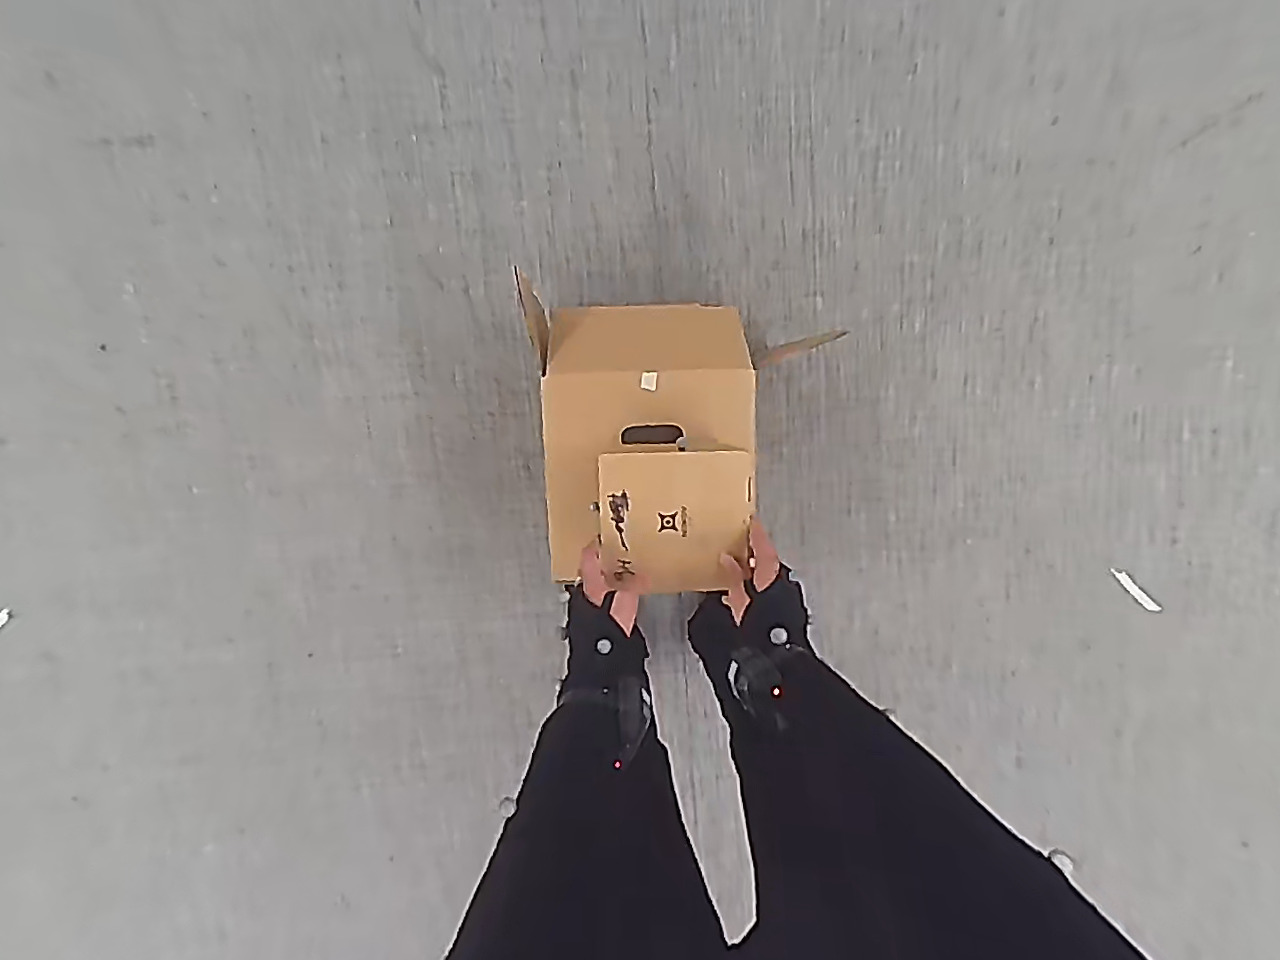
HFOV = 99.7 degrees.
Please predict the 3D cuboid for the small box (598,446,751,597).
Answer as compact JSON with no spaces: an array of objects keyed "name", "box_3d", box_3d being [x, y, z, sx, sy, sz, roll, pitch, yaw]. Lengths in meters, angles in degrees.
[{"name":"small box","box_3d":[0.036,0.043,0.696,0.179,0.176,0.168,-1,97,-2]}]
